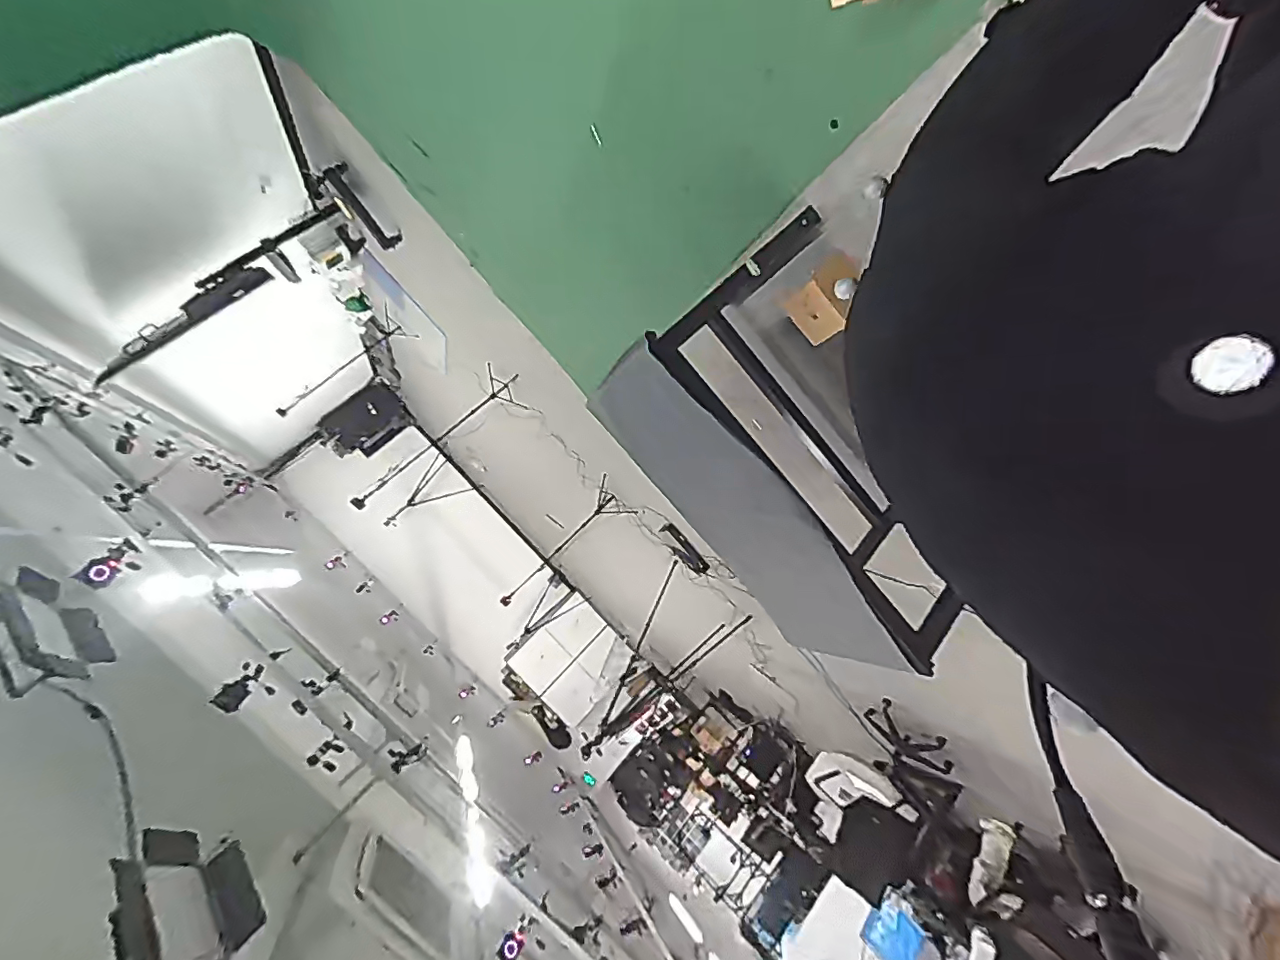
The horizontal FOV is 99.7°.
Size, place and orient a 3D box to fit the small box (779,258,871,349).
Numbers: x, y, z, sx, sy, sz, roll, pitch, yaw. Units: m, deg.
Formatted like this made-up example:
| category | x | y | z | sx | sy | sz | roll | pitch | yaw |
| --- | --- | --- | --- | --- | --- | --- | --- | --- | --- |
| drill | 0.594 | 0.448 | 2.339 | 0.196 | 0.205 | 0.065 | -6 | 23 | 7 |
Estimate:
| category | x | y | z | sx | sy | sz | roll | pitch | yaw |
| --- | --- | --- | --- | --- | --- | --- | --- | --- | --- |
| small box | 0.578 | -0.548 | 1.679 | 0.179 | 0.176 | 0.168 | 48 | 158 | -6 |
